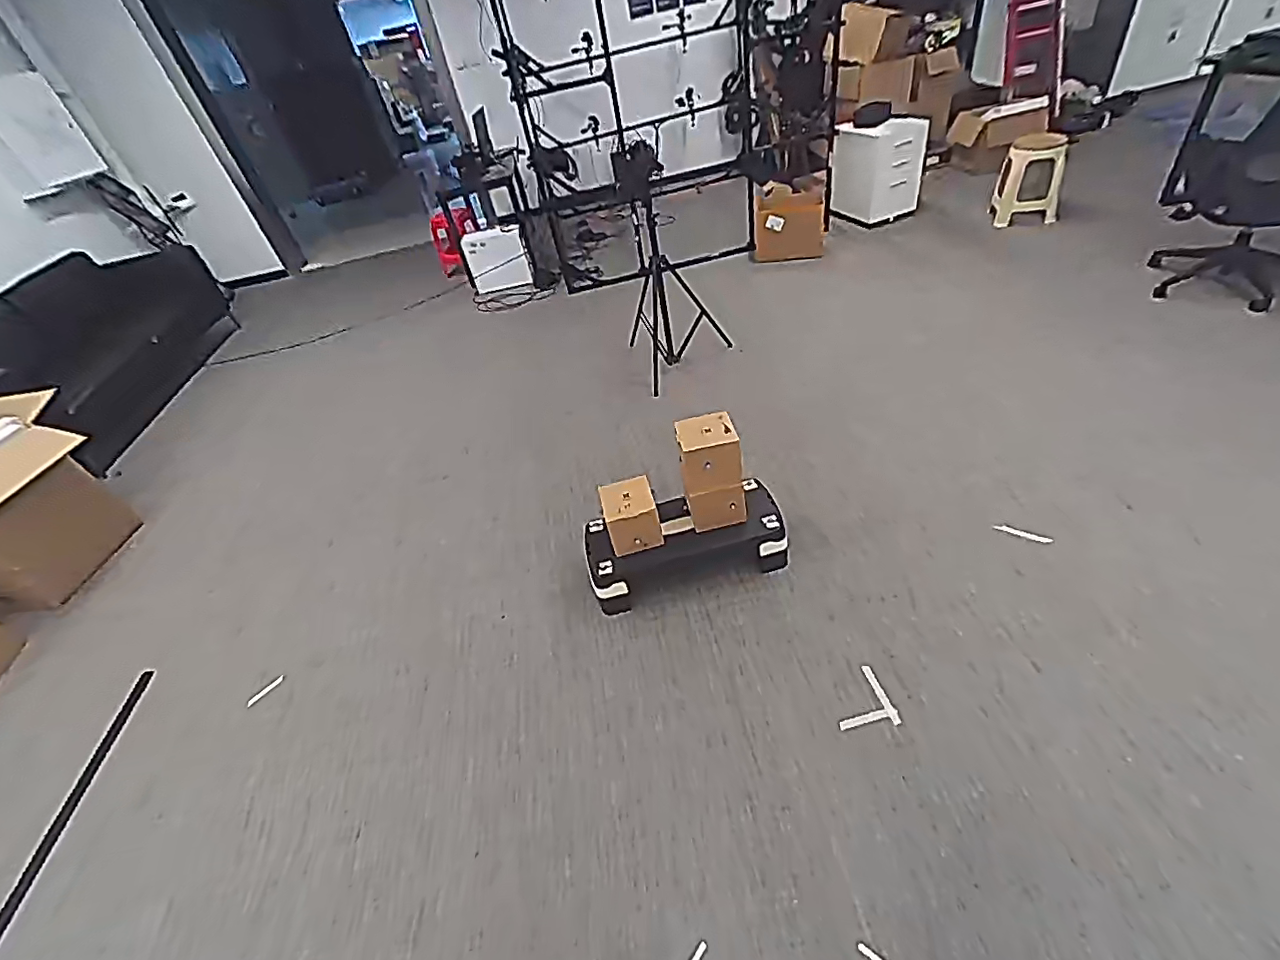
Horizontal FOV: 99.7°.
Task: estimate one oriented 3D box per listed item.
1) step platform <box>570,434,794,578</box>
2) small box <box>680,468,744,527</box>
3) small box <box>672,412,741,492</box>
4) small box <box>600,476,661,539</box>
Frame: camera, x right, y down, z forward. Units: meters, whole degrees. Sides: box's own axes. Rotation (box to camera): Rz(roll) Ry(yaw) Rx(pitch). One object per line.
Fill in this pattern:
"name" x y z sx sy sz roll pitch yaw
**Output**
"step platform" 0.130 0.082 1.730 0.684 0.204 0.286 -15 40 -2
"small box" 0.240 0.050 1.793 0.179 0.176 0.168 -15 39 -2
"small box" 0.211 -0.084 1.703 0.179 0.176 0.168 -13 40 2
"small box" -0.031 0.120 1.783 0.168 0.176 0.179 -15 41 -2
